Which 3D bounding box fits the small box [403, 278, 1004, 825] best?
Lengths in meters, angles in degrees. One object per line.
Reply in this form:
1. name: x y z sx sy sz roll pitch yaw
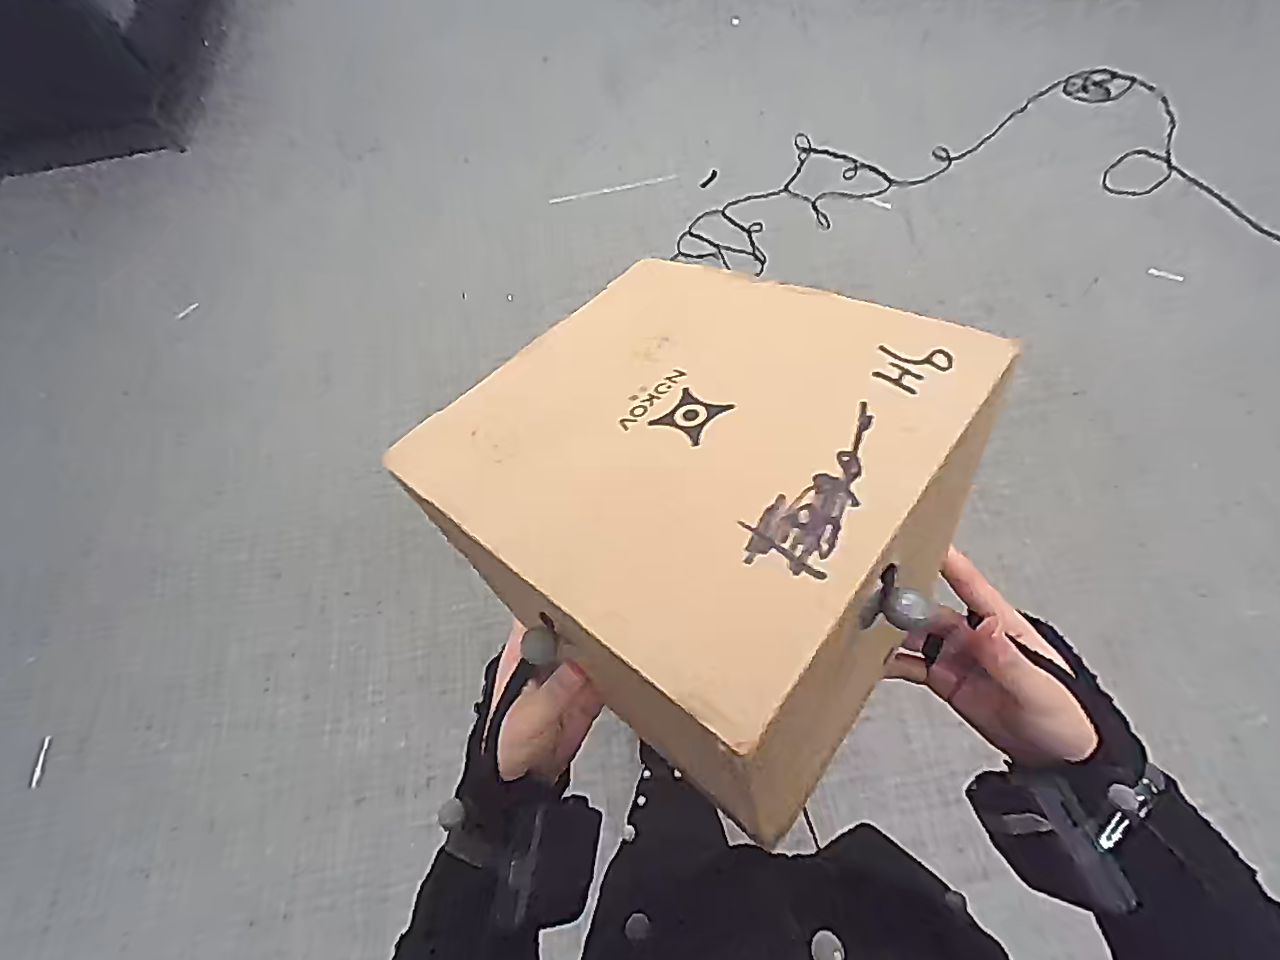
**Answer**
1. small box: 0.032 0.031 0.265 0.179 0.176 0.168 27 63 34
